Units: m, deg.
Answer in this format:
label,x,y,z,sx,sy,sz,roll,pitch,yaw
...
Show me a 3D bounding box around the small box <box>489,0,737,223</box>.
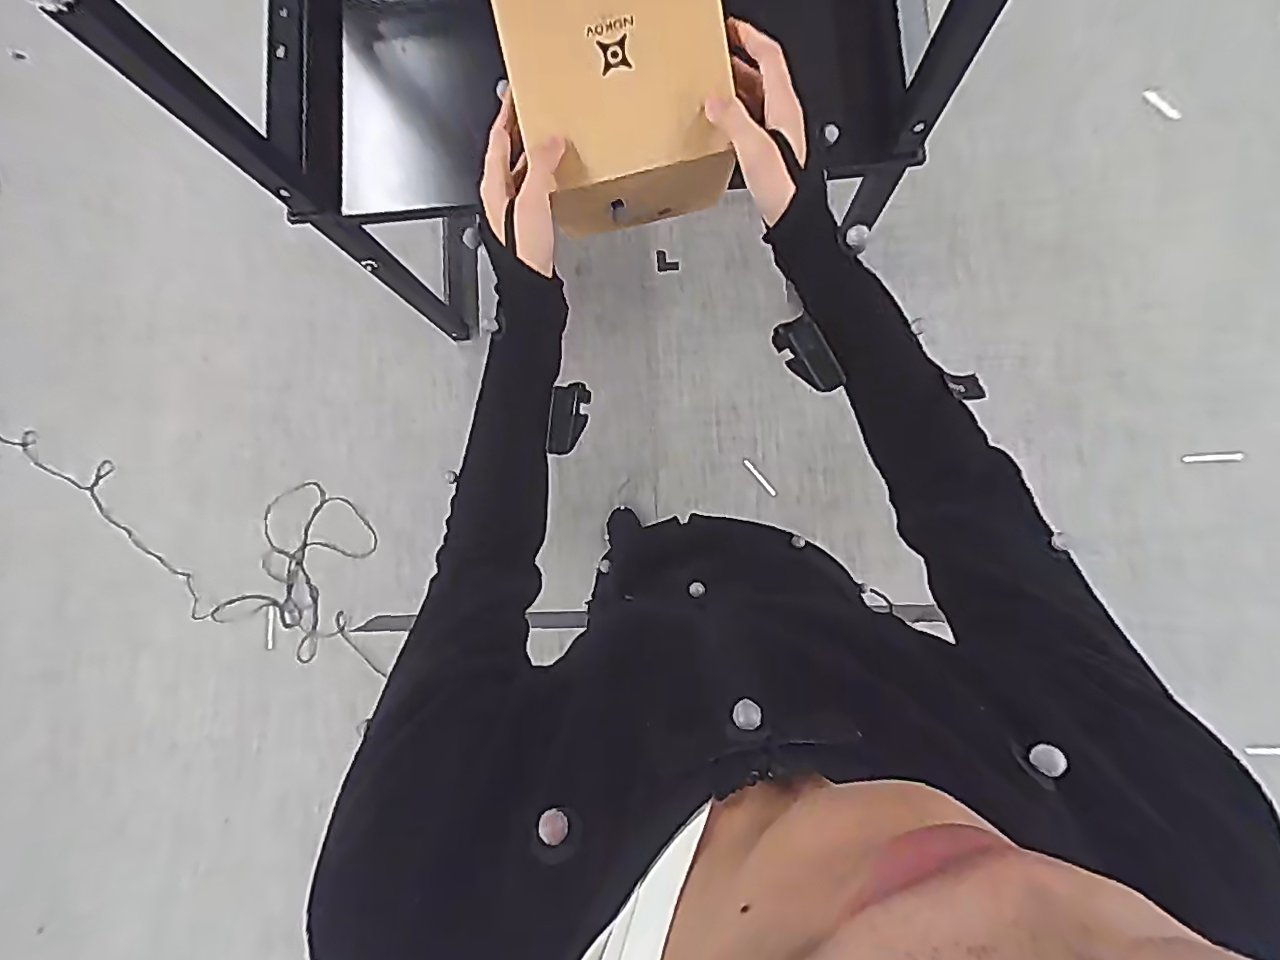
label,x,y,z,sx,sy,sz,roll,pitch,yaw
small box,-0.018,-0.340,0.468,0.168,0.176,0.179,-11,101,4
